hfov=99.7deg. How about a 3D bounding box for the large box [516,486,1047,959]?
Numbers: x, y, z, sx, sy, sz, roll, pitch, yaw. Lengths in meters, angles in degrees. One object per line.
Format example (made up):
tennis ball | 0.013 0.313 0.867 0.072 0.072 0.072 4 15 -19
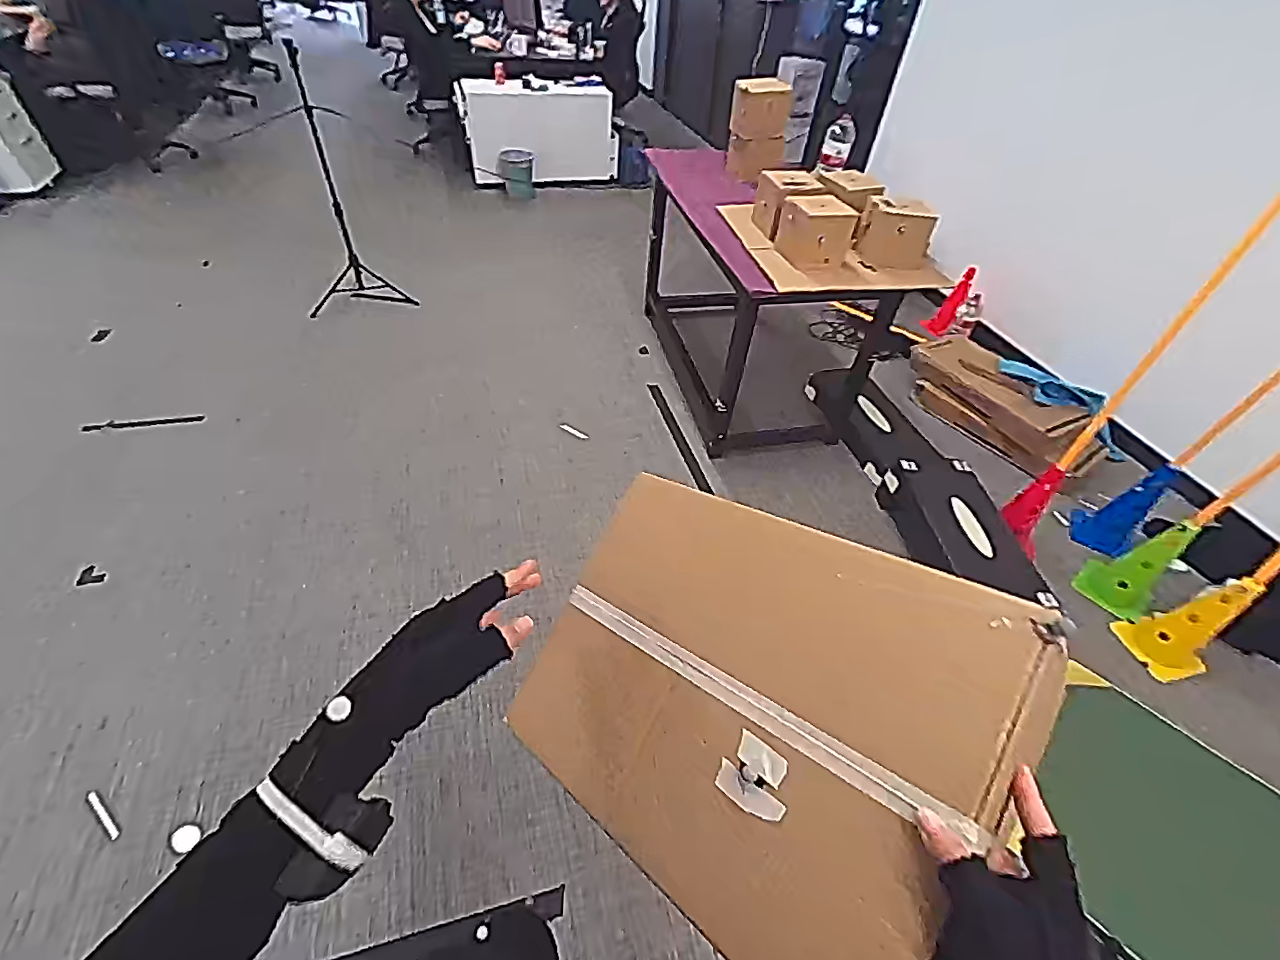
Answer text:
large box | 0.152 0.247 0.587 0.408 0.320 0.320 19 77 42
